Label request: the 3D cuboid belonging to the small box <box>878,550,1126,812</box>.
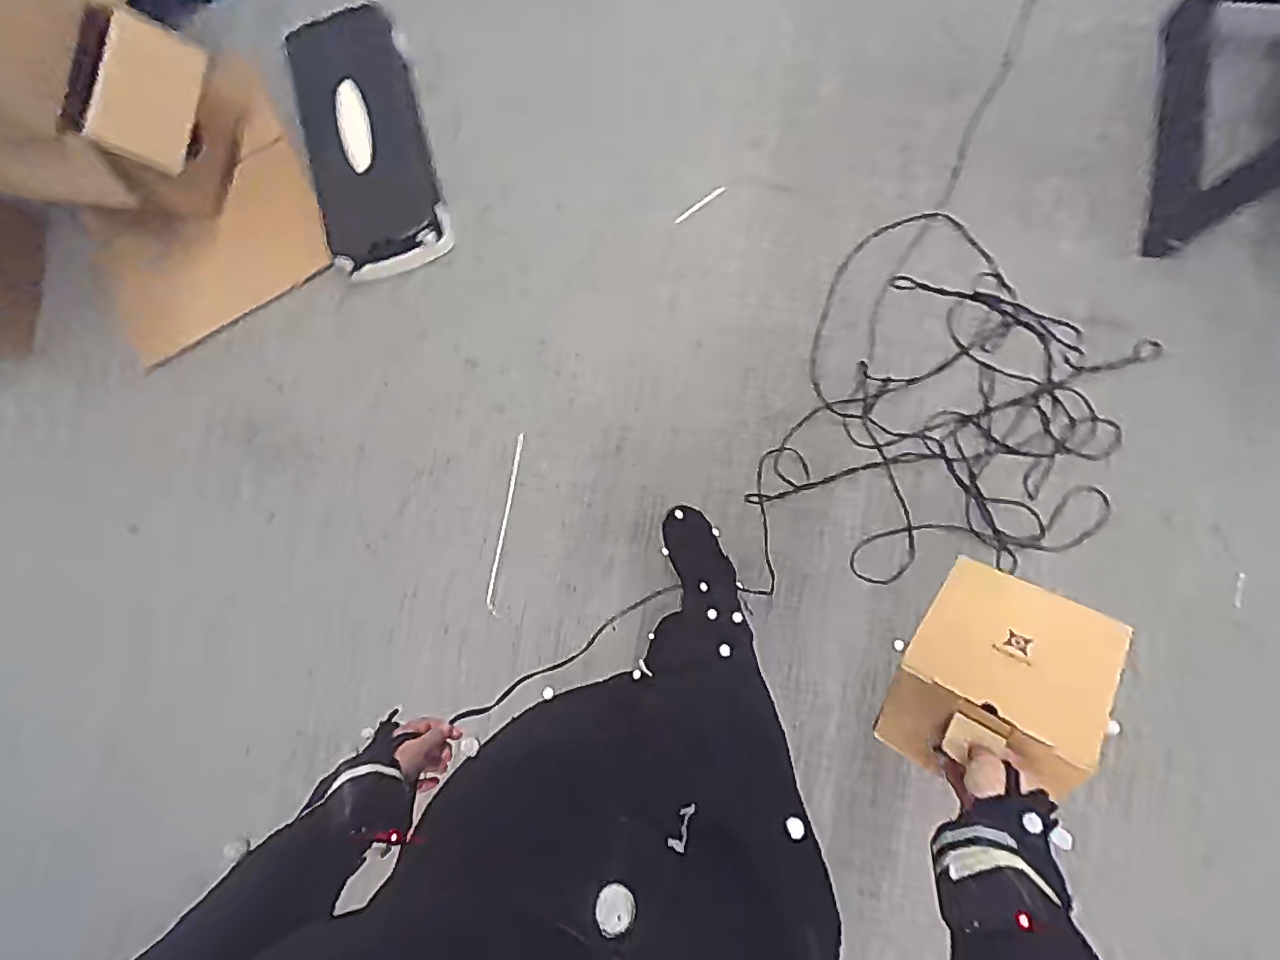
[{"bbox_3d":[0.387,0.219,0.601,0.168,0.176,0.179,26,52,32],"label":"small box"}]
